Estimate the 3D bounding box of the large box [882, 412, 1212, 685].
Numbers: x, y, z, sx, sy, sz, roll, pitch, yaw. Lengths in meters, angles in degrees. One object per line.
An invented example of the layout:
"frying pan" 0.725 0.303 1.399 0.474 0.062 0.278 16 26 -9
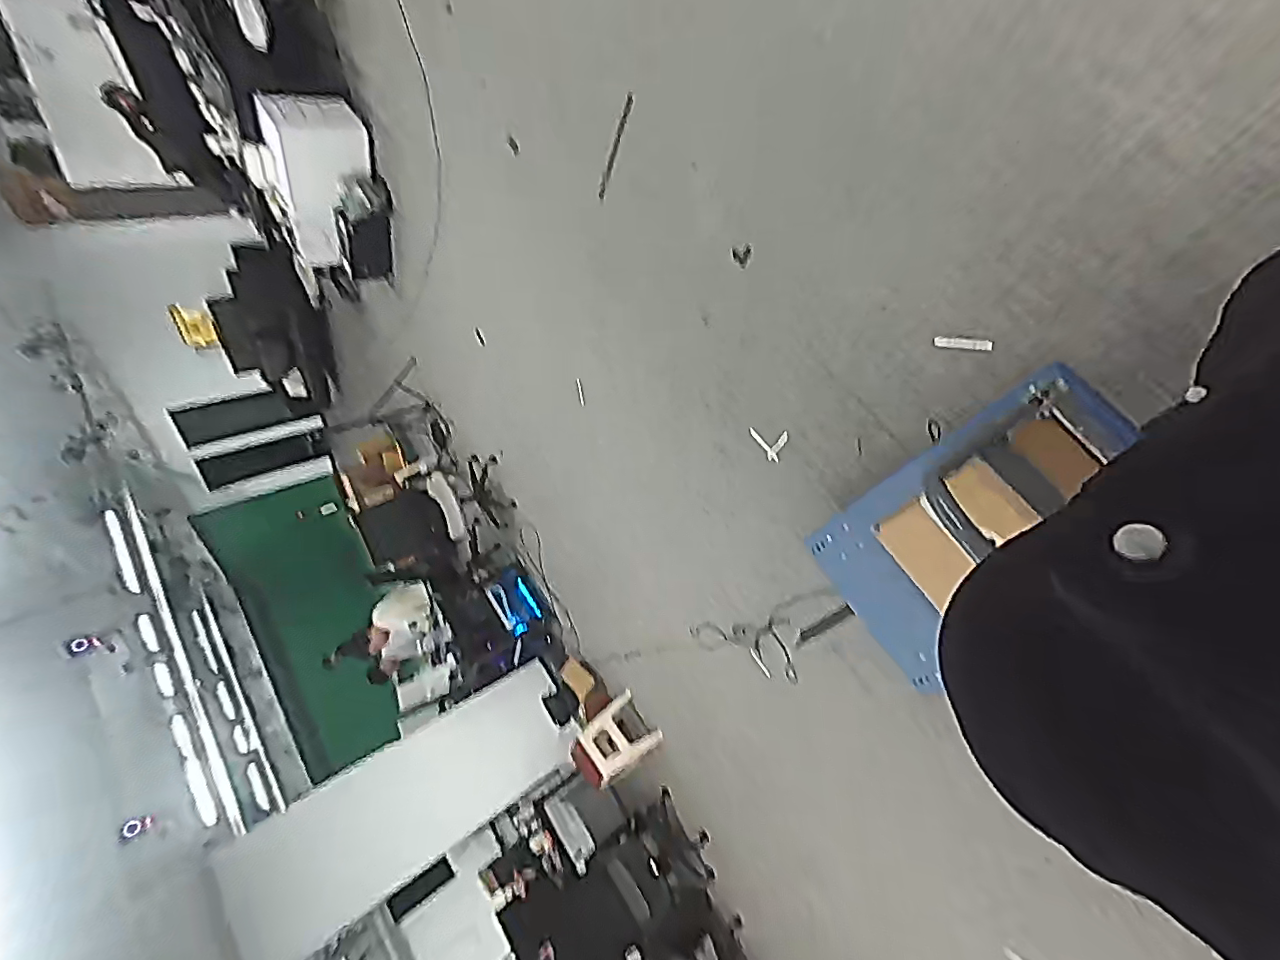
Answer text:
"large box" 0.814 0.134 1.114 0.408 0.320 0.320 55 144 17
